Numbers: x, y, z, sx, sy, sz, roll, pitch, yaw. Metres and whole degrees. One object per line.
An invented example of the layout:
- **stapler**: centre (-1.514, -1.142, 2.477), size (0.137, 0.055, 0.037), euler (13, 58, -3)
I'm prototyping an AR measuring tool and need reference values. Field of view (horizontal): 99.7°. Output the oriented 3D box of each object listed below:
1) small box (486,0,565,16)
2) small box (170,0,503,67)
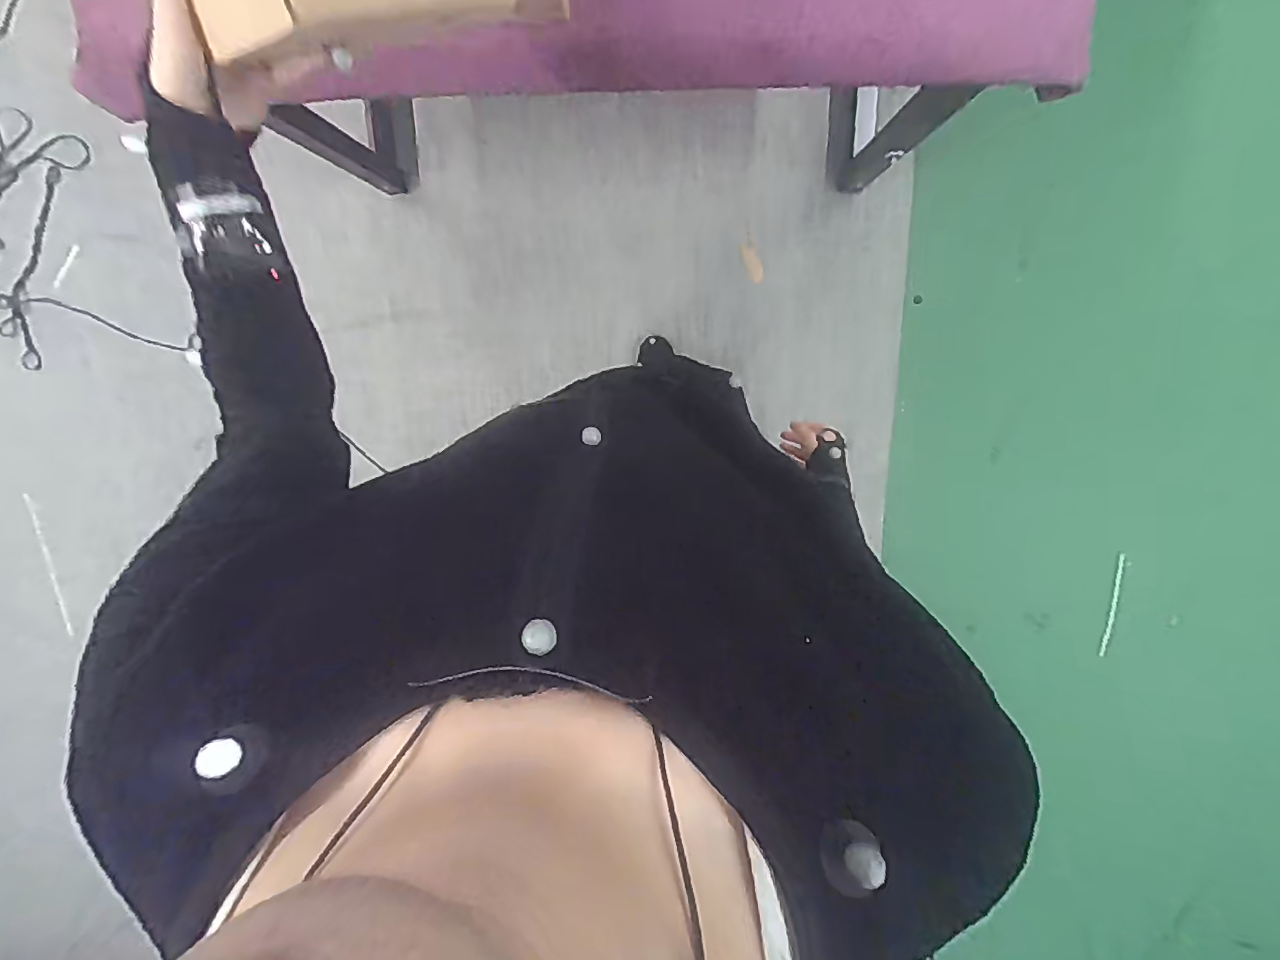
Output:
- **small box**: centre (-0.168, -0.616, 0.538), size (0.168, 0.176, 0.179), euler (2, 103, 3)
- **small box**: centre (-0.211, -0.383, 0.333), size (0.168, 0.176, 0.179), euler (22, 138, 35)
